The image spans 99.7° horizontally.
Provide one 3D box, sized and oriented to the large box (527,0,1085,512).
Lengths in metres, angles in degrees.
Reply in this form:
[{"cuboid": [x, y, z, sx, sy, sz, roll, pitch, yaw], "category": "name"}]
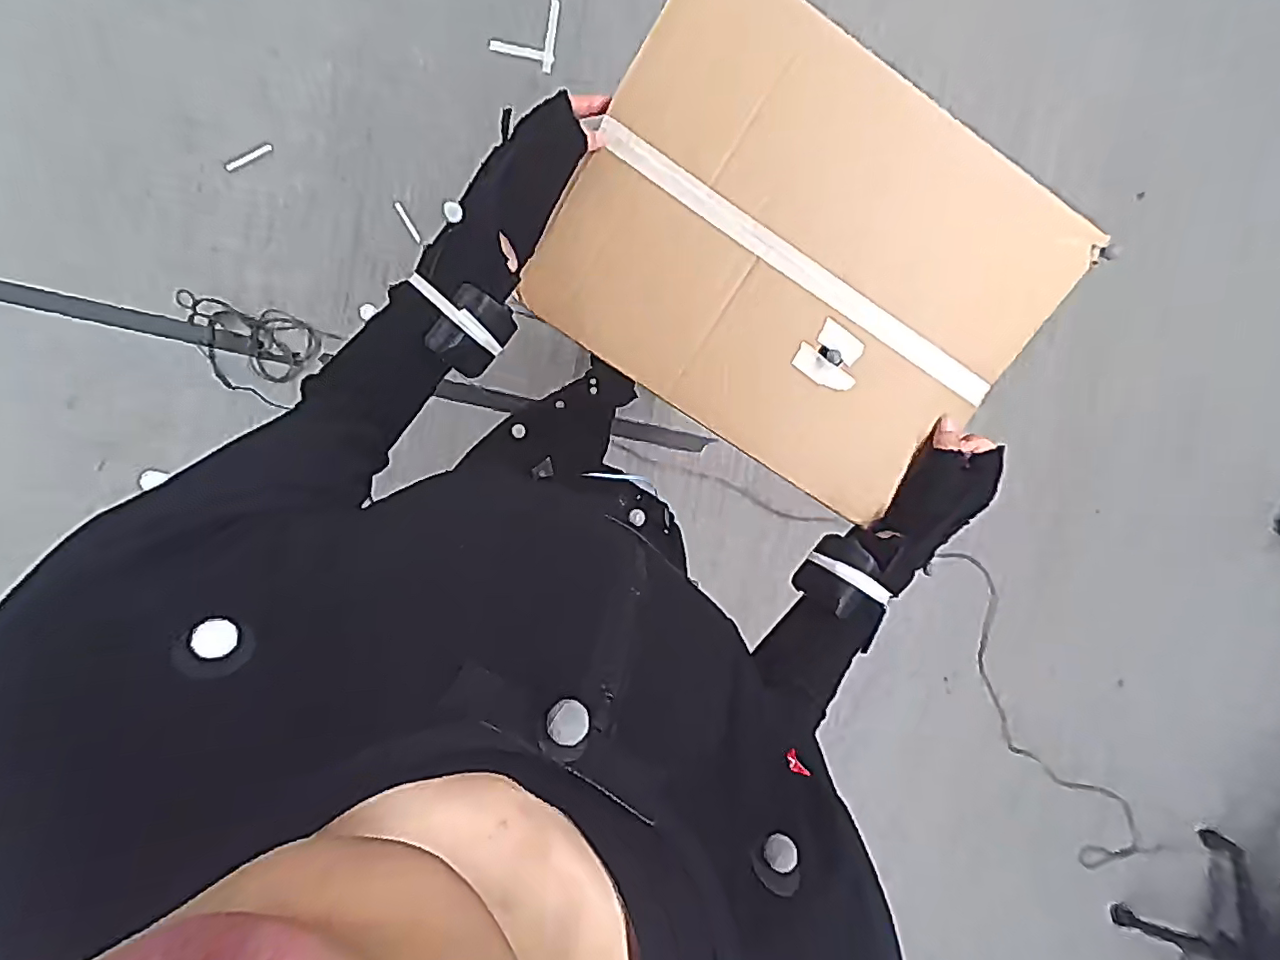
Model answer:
[{"cuboid": [0.143, -0.229, 0.623, 0.408, 0.320, 0.320, 32, 104, -7], "category": "large box"}]
